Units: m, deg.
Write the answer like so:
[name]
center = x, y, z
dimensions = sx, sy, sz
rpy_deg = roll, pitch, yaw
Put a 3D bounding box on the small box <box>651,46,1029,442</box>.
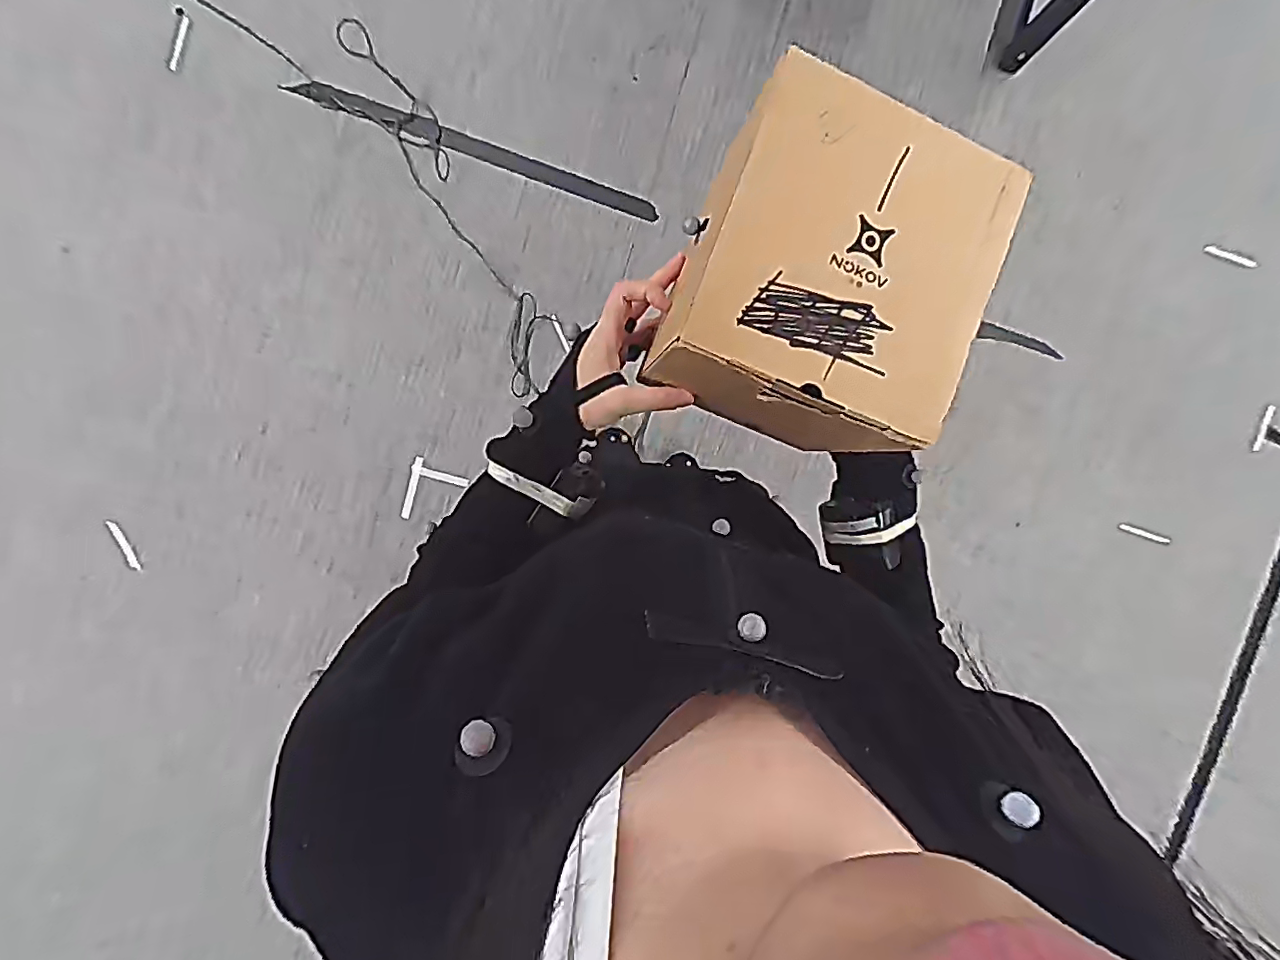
[small box]
center = 0.113, -0.134, 0.384
dimensions = 0.168, 0.176, 0.179
rpy_deg = 19, 91, -8
